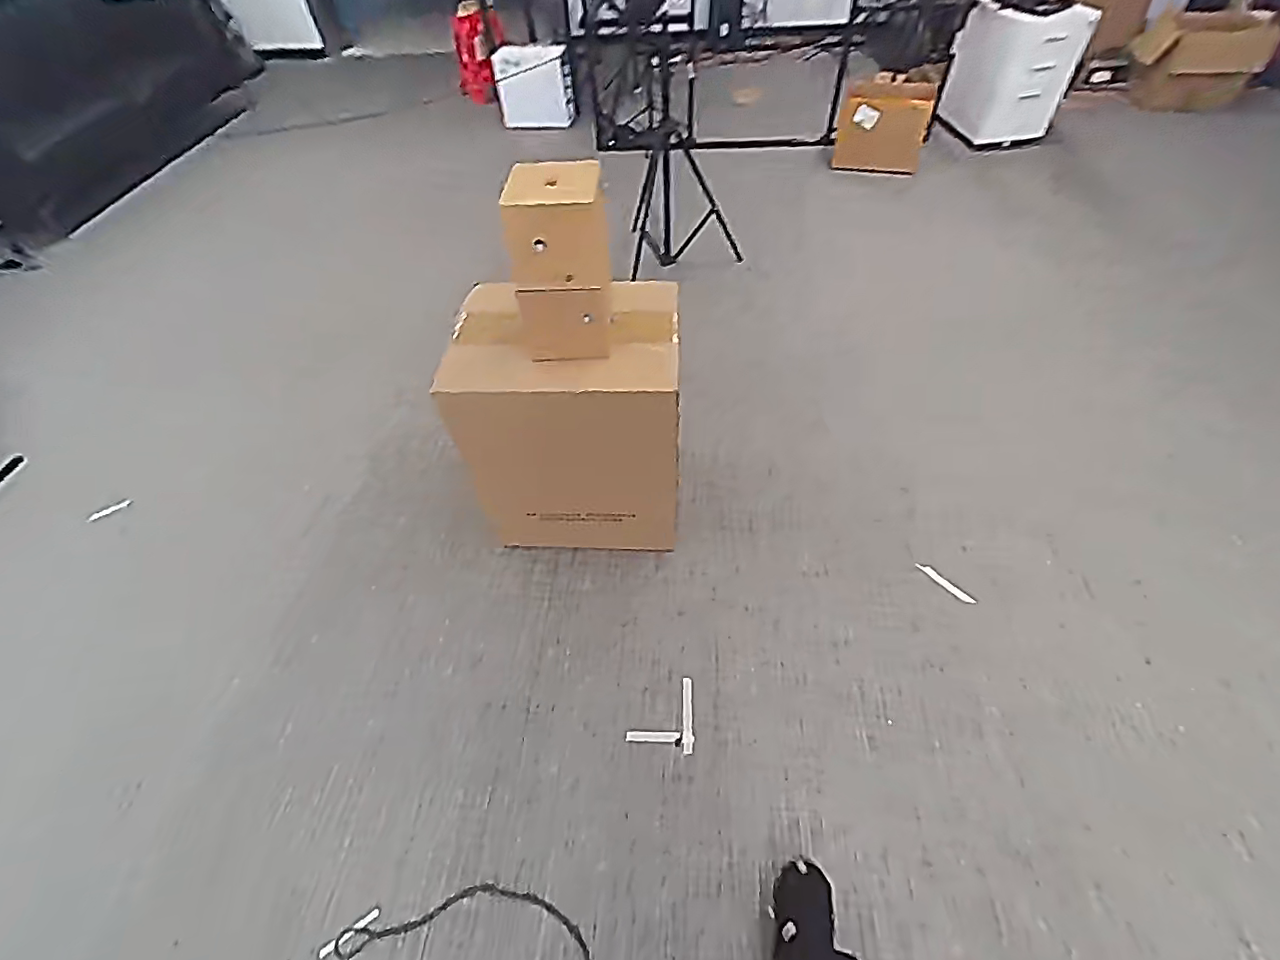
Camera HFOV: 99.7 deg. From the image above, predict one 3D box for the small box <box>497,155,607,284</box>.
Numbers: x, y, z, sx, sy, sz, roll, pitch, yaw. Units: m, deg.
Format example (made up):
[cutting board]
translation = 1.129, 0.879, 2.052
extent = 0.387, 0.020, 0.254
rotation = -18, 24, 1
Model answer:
[small box]
translation = -0.155, -0.485, 1.021
extent = 0.168, 0.176, 0.179
rotation = -1, 51, 3
